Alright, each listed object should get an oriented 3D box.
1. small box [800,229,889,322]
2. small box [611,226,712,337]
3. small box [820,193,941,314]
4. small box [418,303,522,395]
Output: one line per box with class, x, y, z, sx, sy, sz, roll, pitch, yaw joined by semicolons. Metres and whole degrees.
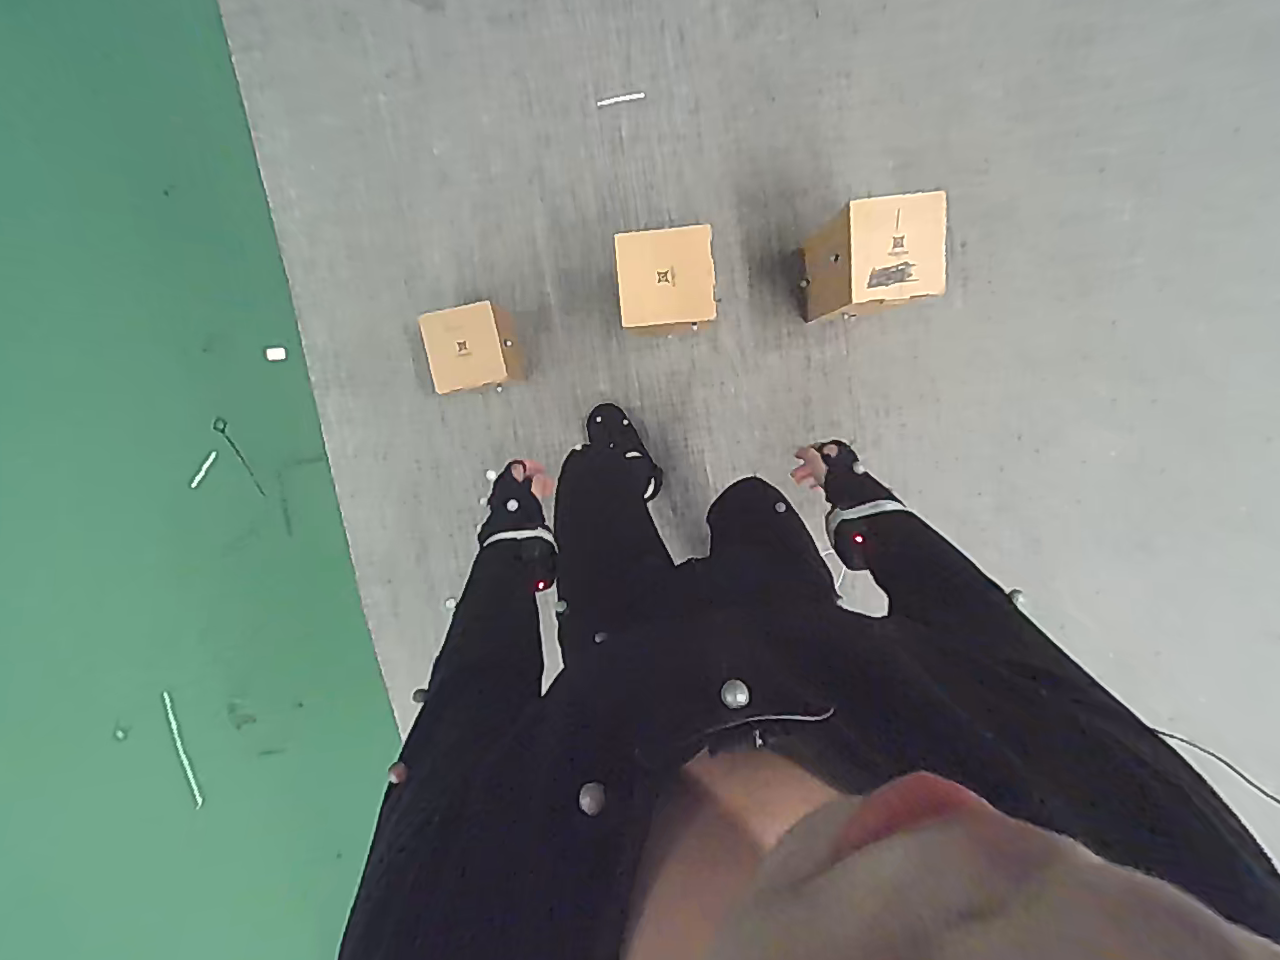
small box;0.457;-0.449;1.190;0.168;0.176;0.179;-6;100;3
small box;0.045;-0.378;1.055;0.179;0.176;0.168;-5;99;4
small box;0.448;-0.417;1.028;0.168;0.176;0.179;-5;98;3
small box;-0.385;-0.298;1.256;0.168;0.176;0.179;-10;98;3
